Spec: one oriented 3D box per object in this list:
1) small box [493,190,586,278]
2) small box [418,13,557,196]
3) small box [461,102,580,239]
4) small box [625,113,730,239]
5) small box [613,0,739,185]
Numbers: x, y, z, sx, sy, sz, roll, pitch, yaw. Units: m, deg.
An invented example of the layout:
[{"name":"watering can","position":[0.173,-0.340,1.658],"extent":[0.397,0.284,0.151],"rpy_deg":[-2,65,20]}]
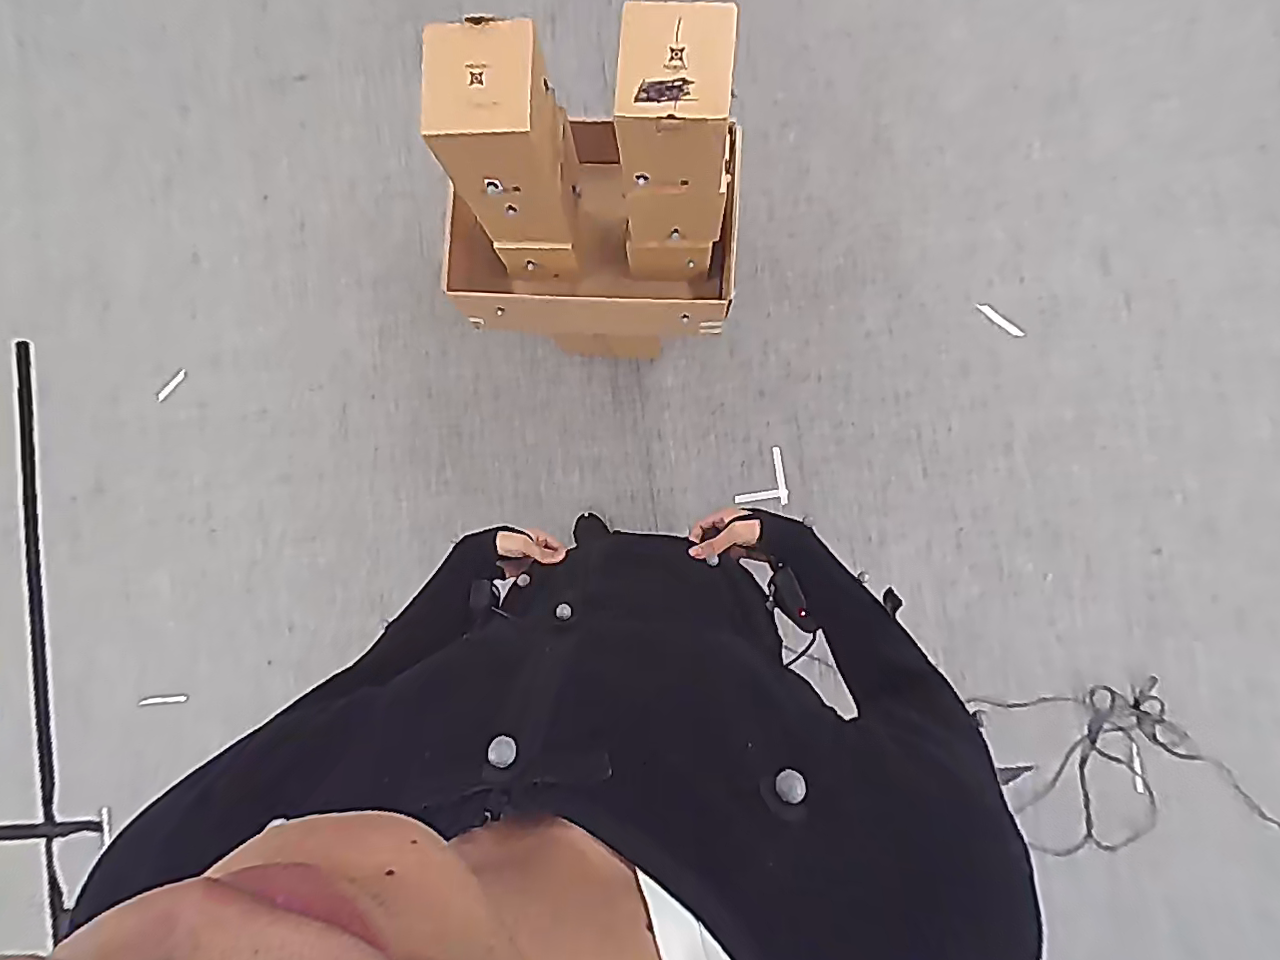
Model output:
[{"name":"small box","position":[-0.212,-0.558,1.181],"extent":[0.168,0.176,0.179],"rpy_deg":[1,87,3]},{"name":"small box","position":[-0.230,-0.581,0.854],"extent":[0.168,0.176,0.179],"rpy_deg":[1,86,4]},{"name":"small box","position":[-0.216,-0.573,1.017],"extent":[0.179,0.176,0.168],"rpy_deg":[3,87,2]},{"name":"small box","position":[0.067,-0.562,0.996],"extent":[0.179,0.176,0.168],"rpy_deg":[1,87,3]},{"name":"small box","position":[0.056,-0.585,0.832],"extent":[0.168,0.176,0.179],"rpy_deg":[5,87,4]}]
